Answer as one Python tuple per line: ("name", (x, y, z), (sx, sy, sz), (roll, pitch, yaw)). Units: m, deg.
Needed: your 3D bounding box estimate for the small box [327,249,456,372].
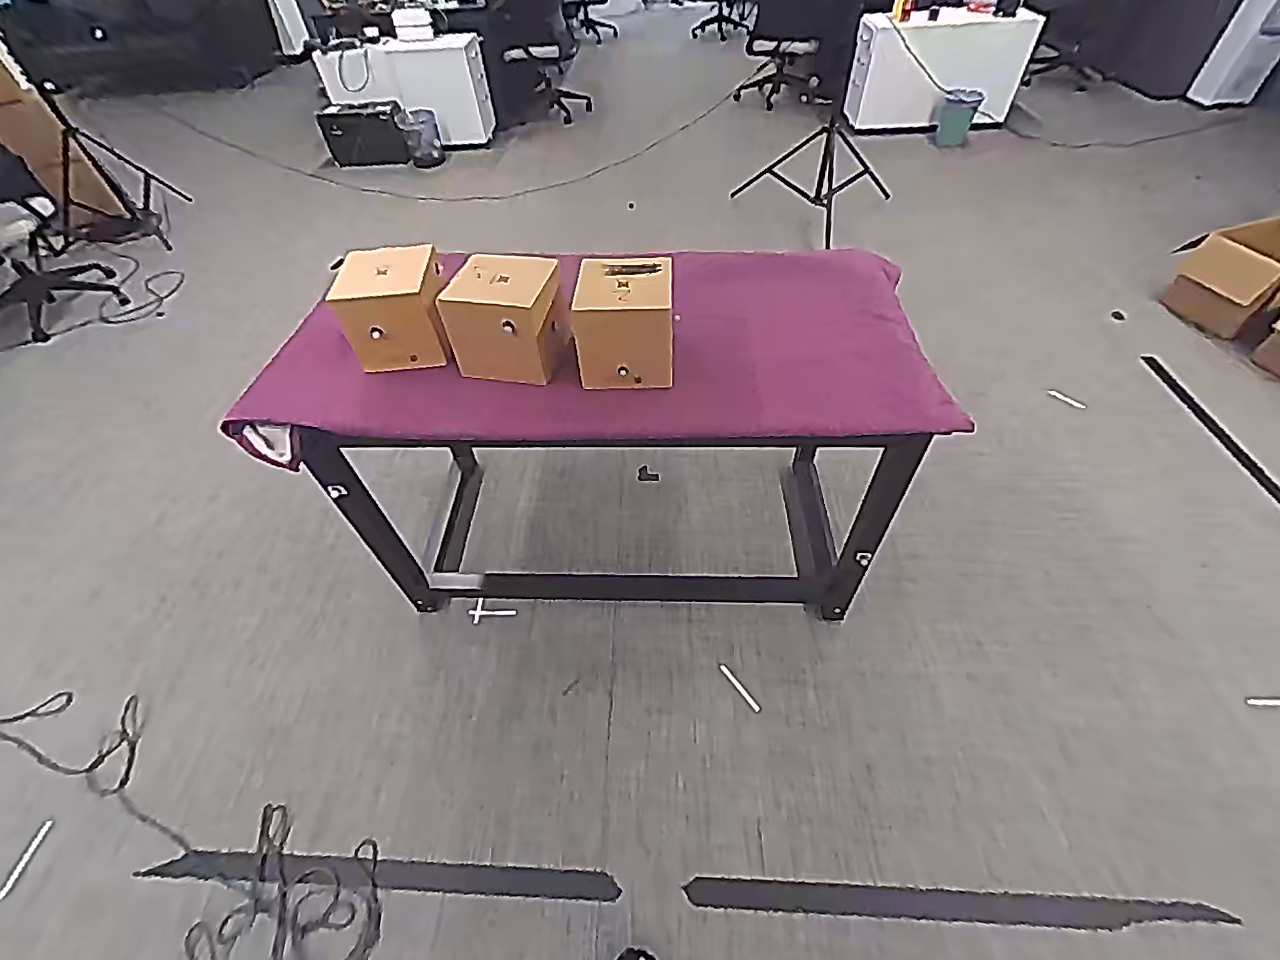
("small box", (-0.475, -0.327, 1.066), (0.168, 0.176, 0.179), (-7, 50, -2))
